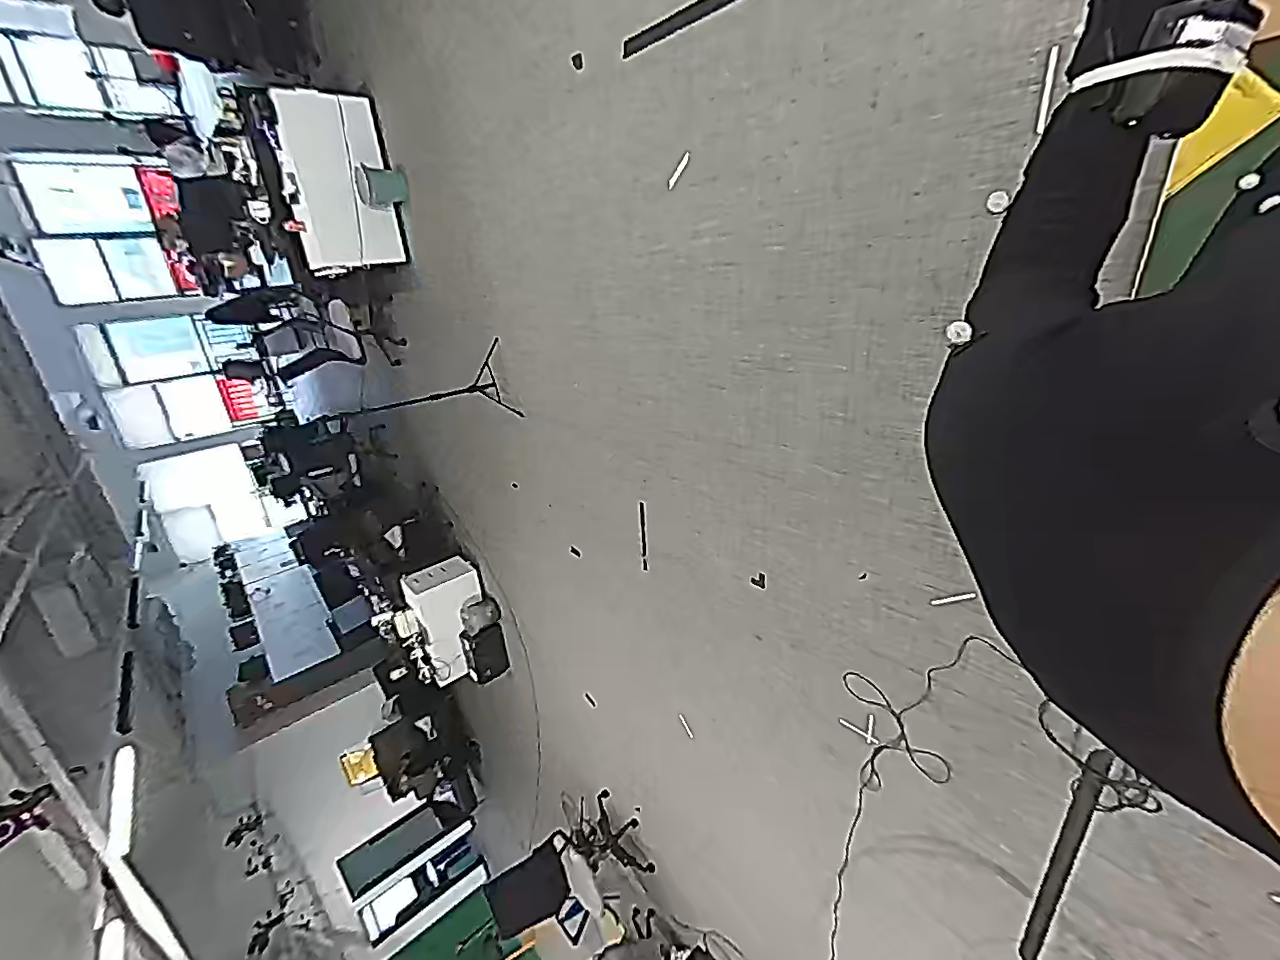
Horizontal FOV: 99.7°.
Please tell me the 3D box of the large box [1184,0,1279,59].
[{"bbox_3d":[0.598,-0.475,0.272,0.408,0.320,0.320,15,126,46],"label":"large box"}]
